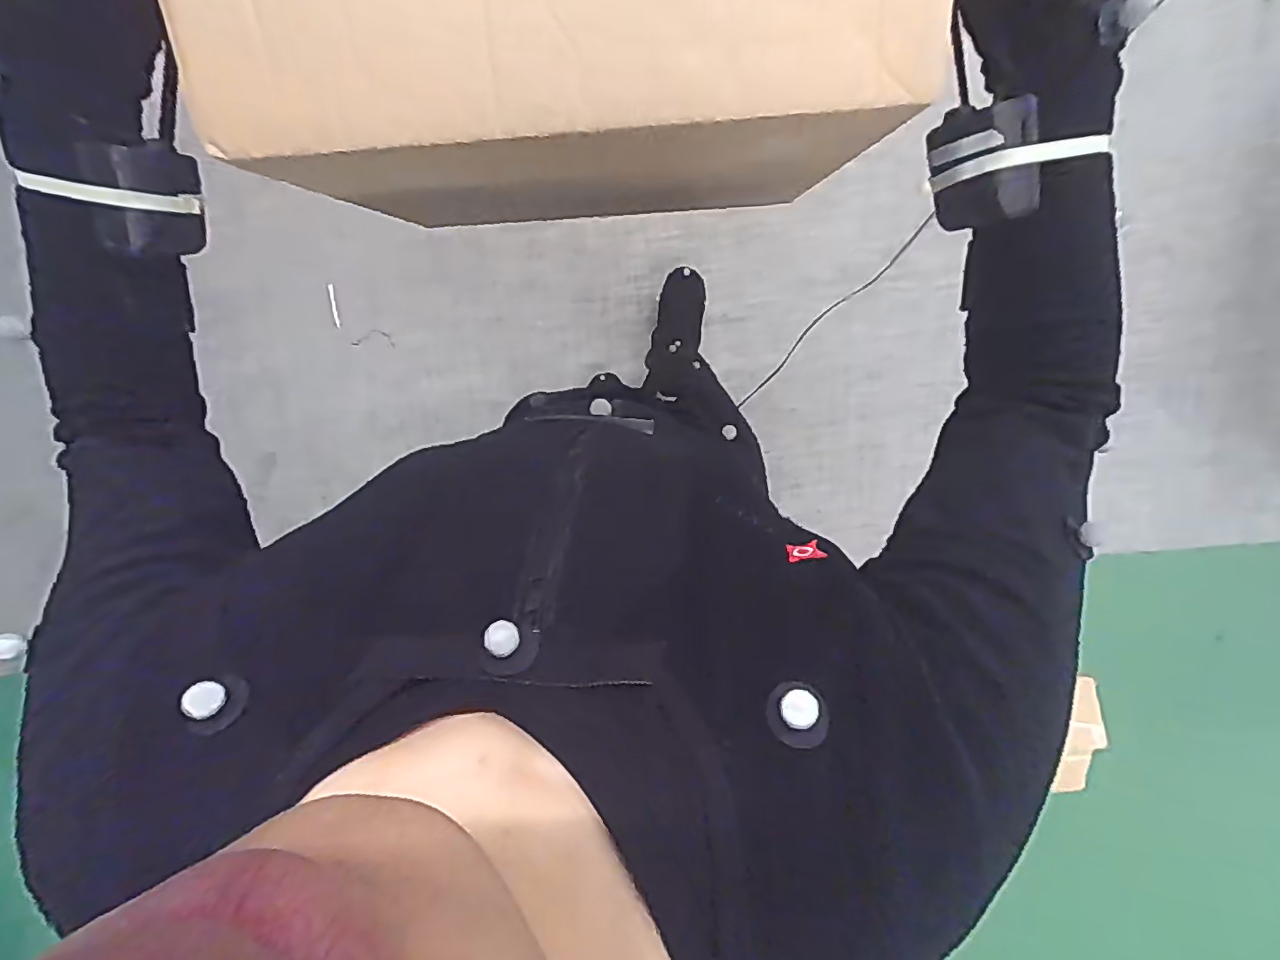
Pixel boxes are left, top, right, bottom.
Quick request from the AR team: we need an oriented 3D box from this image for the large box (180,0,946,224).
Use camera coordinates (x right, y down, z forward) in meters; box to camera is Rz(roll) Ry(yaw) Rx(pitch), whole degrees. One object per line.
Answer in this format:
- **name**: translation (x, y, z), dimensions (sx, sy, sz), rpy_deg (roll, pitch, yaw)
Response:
- **large box**: translation (-0.050, -0.390, 0.392), dimensions (0.408, 0.320, 0.320), rpy_deg (-4, 109, 1)
